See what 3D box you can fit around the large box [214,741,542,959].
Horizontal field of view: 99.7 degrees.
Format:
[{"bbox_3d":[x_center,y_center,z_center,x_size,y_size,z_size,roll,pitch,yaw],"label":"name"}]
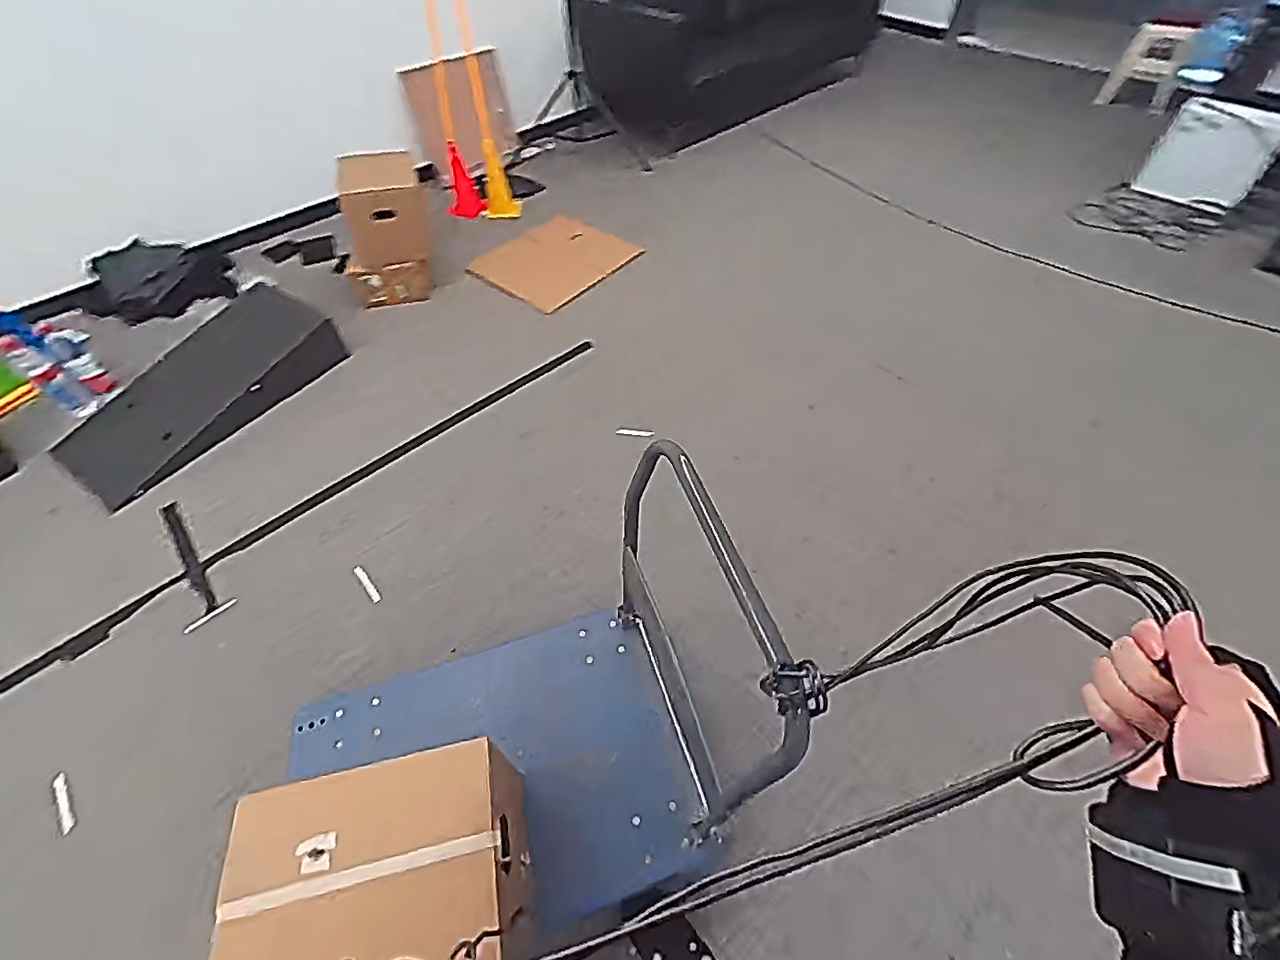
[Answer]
[{"bbox_3d":[-0.408,0.692,0.924,0.408,0.320,0.320,-12,52,-7],"label":"large box"}]
